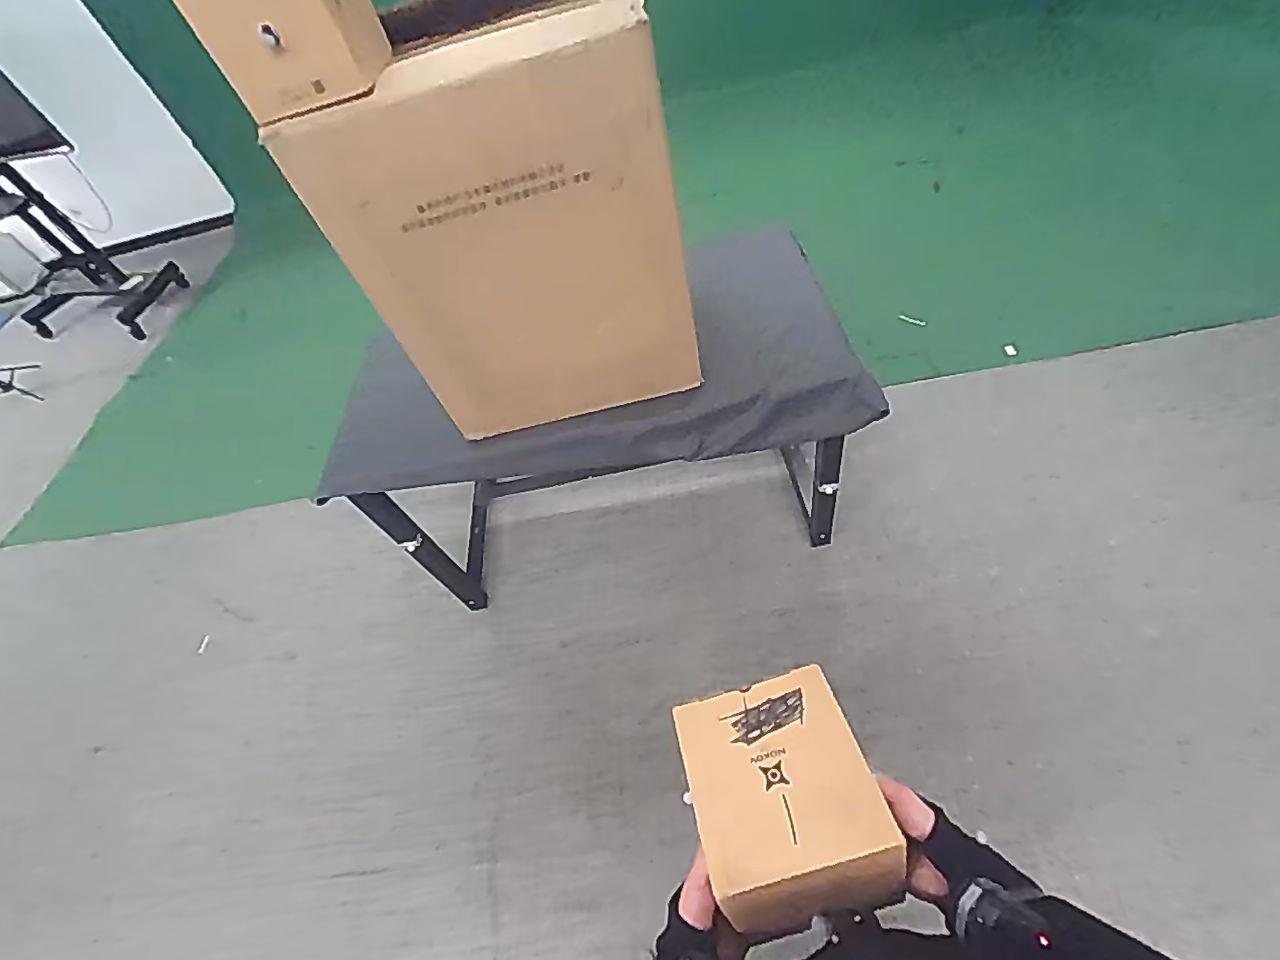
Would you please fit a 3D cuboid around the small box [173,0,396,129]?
[{"bbox_3d":[-0.450,-0.594,0.715,0.168,0.176,0.179,-12,51,6],"label":"small box"}]
